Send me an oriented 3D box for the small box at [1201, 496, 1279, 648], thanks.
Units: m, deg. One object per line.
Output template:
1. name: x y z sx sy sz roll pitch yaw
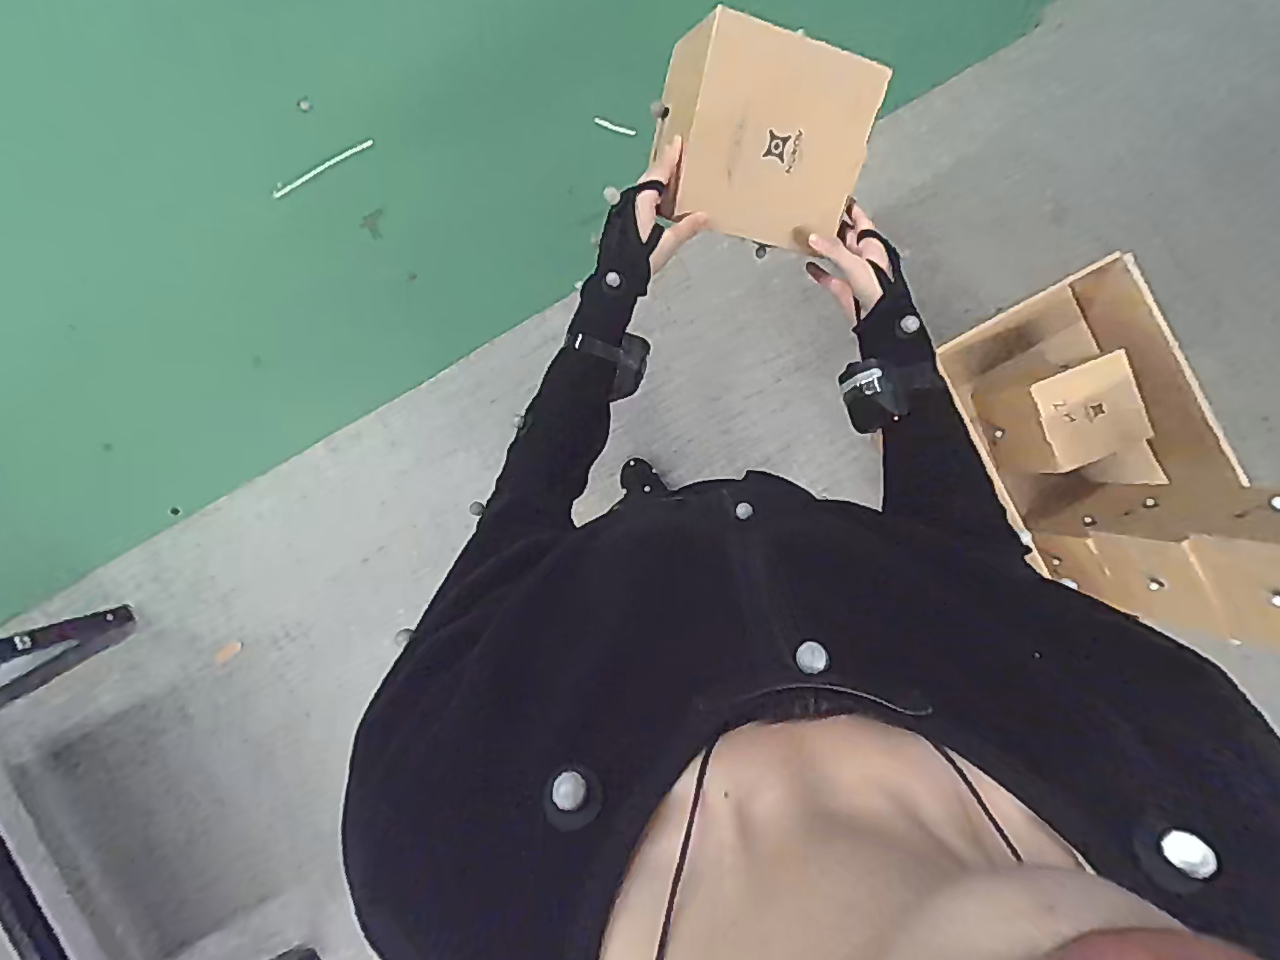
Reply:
1. small box: 0.889 0.121 0.679 0.168 0.176 0.179 -25 90 1

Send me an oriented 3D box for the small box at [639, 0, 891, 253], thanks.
1. small box: 0.111 -0.350 0.563 0.179 0.176 0.168 7 117 -15
